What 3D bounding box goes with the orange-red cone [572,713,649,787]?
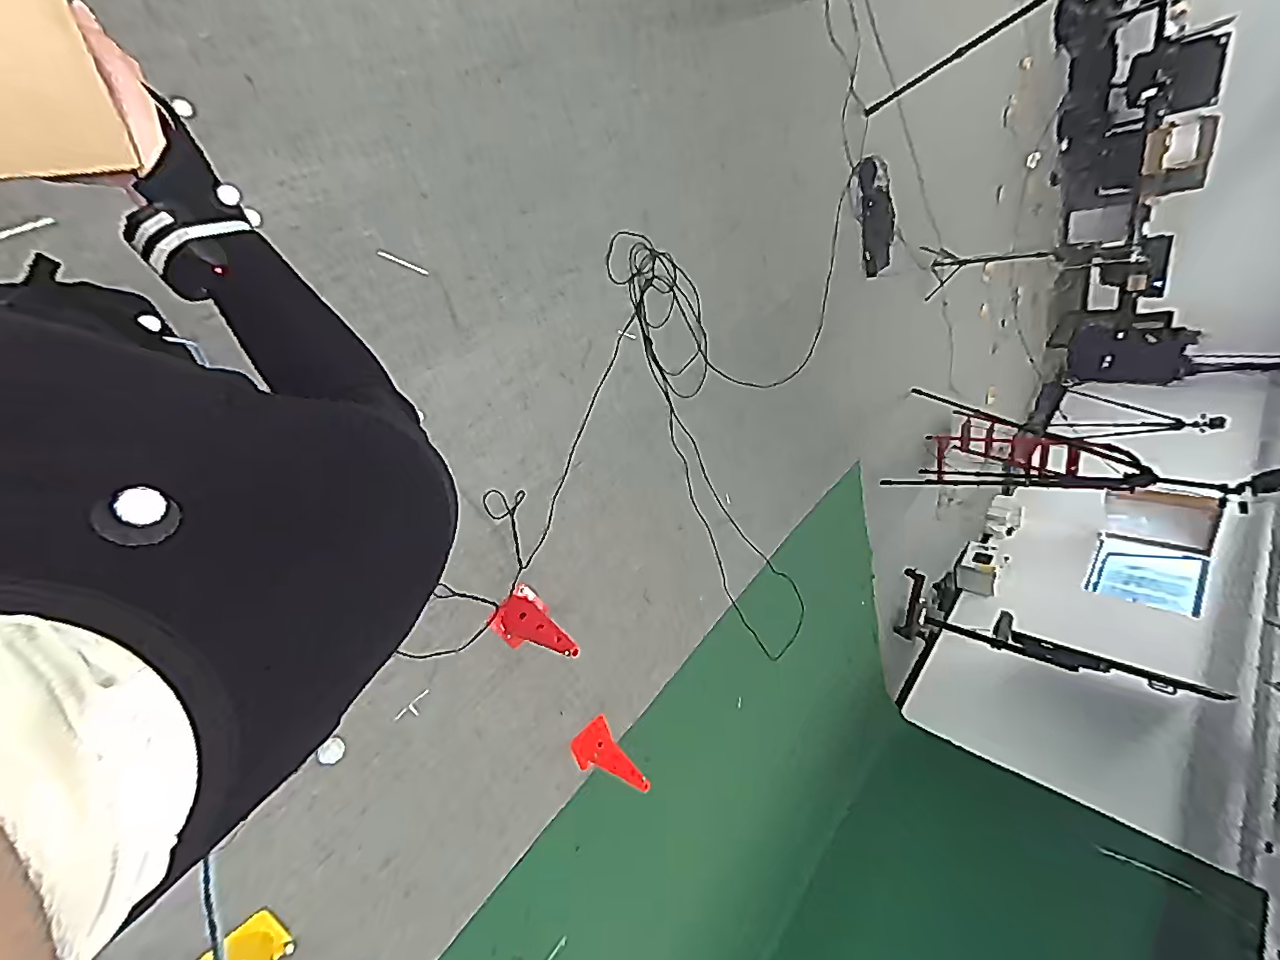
[{"bbox_3d":[-0.099,1.209,2.337,0.199,0.360,0.198,-35,124,-36],"label":"orange-red cone"}]
